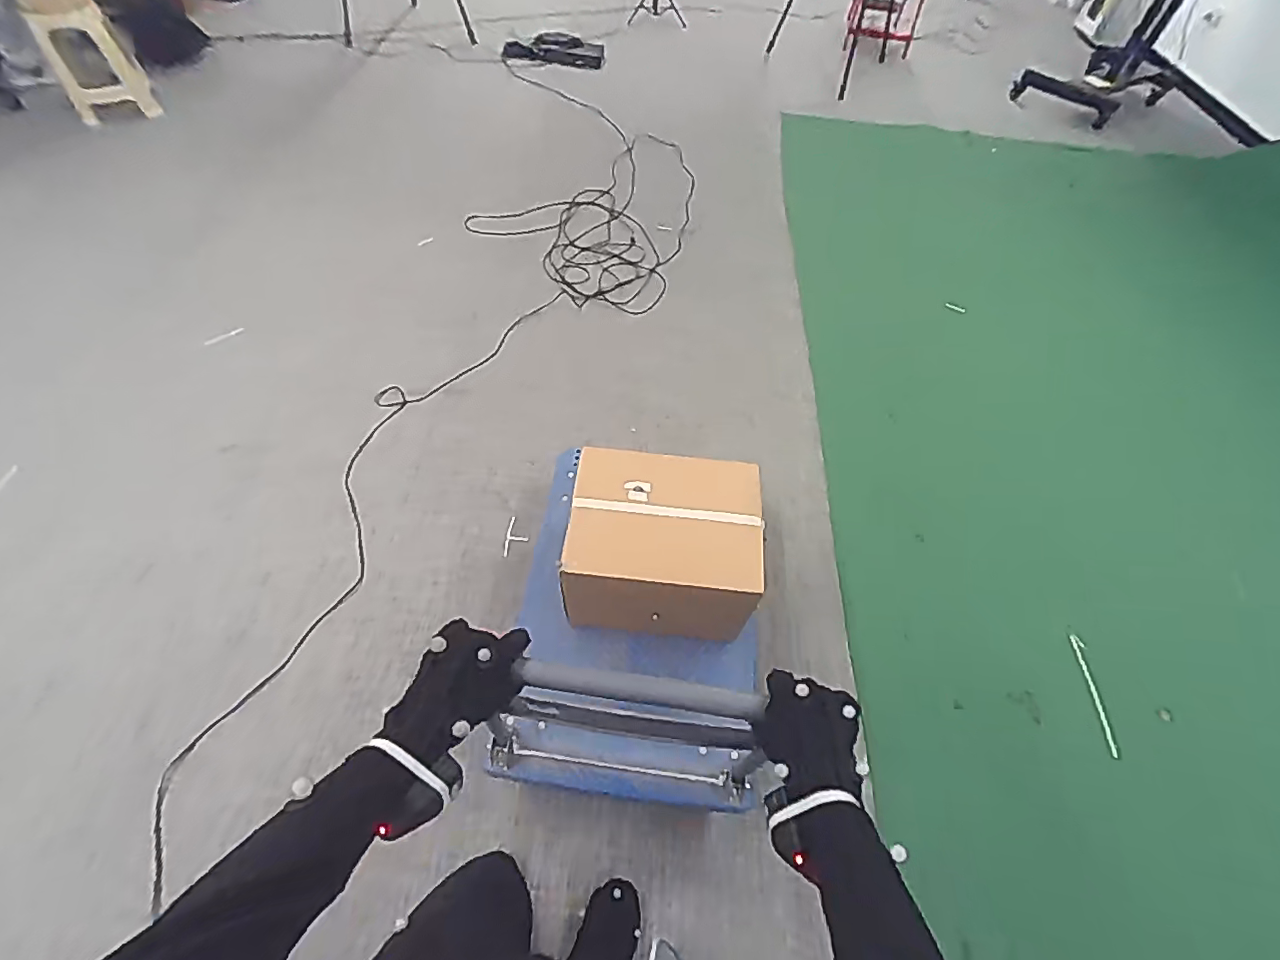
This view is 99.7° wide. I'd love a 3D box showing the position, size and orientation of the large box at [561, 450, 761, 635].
[{"bbox_3d":[0.047,0.156,1.266,0.408,0.320,0.320,6,55,1],"label":"large box"}]
